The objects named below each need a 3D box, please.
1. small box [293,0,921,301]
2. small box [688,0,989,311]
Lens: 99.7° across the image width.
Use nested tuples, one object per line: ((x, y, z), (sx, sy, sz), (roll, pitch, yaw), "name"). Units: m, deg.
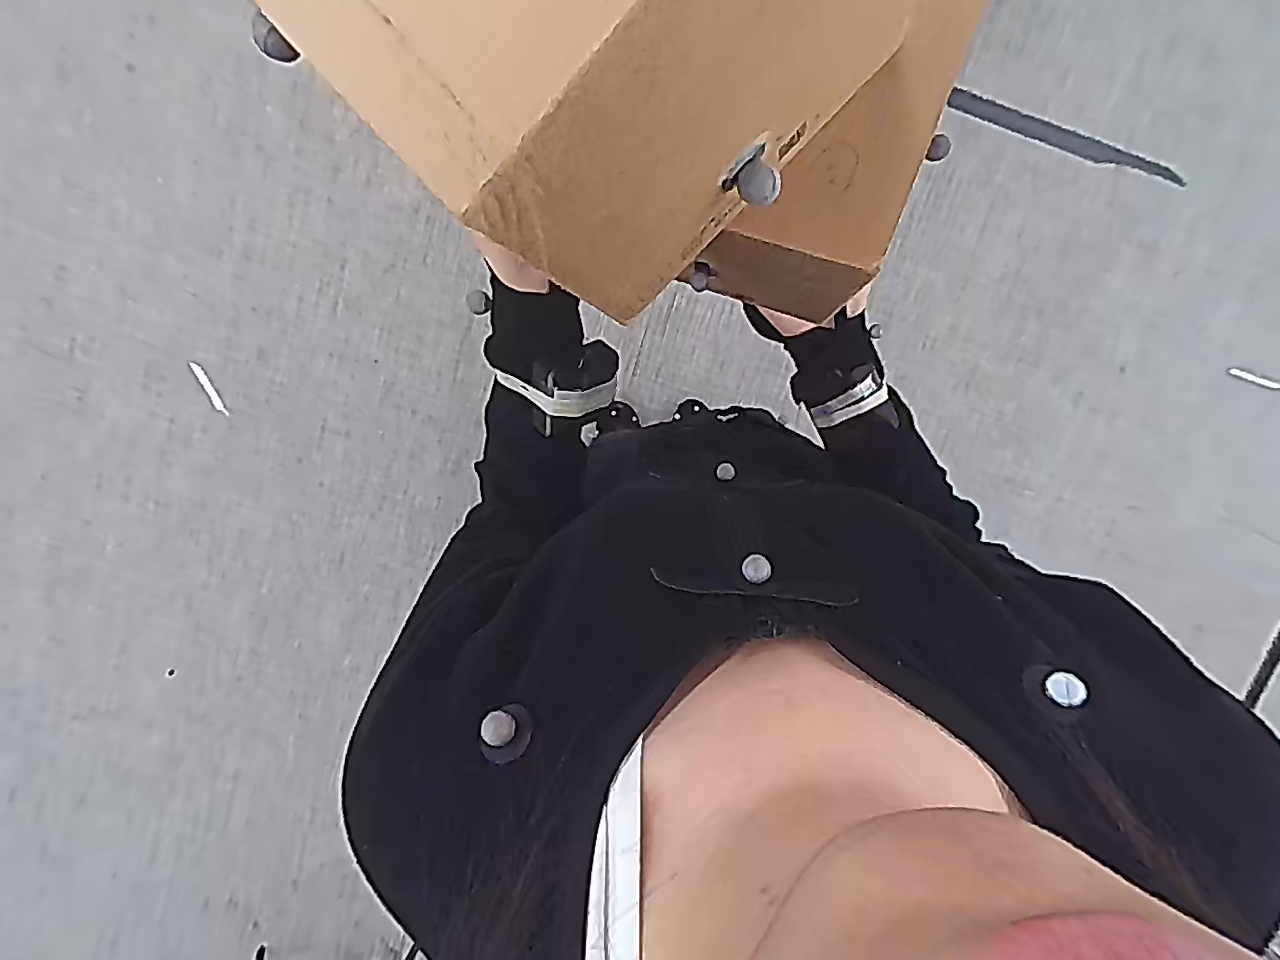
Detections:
((-0.017, -0.183, 0.171), (0.168, 0.176, 0.179), (-43, 90, 14), "small box")
((0.075, -0.215, 0.317), (0.168, 0.176, 0.179), (20, 100, 5), "small box")
